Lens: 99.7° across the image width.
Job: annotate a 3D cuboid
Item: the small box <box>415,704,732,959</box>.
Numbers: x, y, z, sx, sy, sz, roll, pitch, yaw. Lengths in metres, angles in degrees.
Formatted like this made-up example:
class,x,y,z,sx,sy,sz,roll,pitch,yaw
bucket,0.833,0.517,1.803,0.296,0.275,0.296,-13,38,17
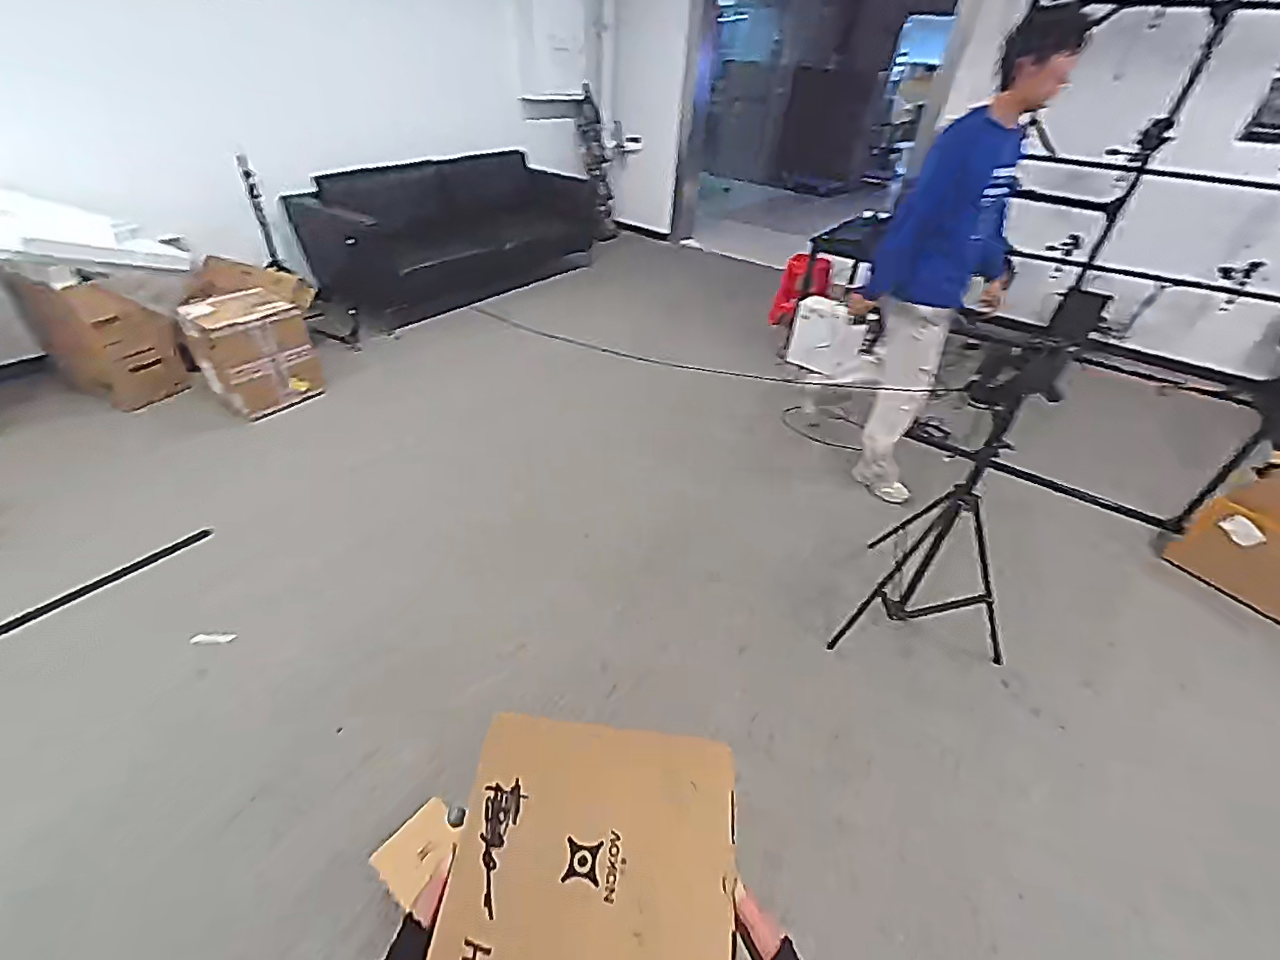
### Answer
class,x,y,z,sx,sy,sz,roll,pitch,yaw
small box,-0.040,0.283,0.389,0.179,0.176,0.168,9,48,-1

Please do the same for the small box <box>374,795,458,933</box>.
class,x,y,z,sx,sy,sz,roll,pitch,yaw
small box,-0.465,0.874,1.229,0.168,0.176,0.179,27,44,28
